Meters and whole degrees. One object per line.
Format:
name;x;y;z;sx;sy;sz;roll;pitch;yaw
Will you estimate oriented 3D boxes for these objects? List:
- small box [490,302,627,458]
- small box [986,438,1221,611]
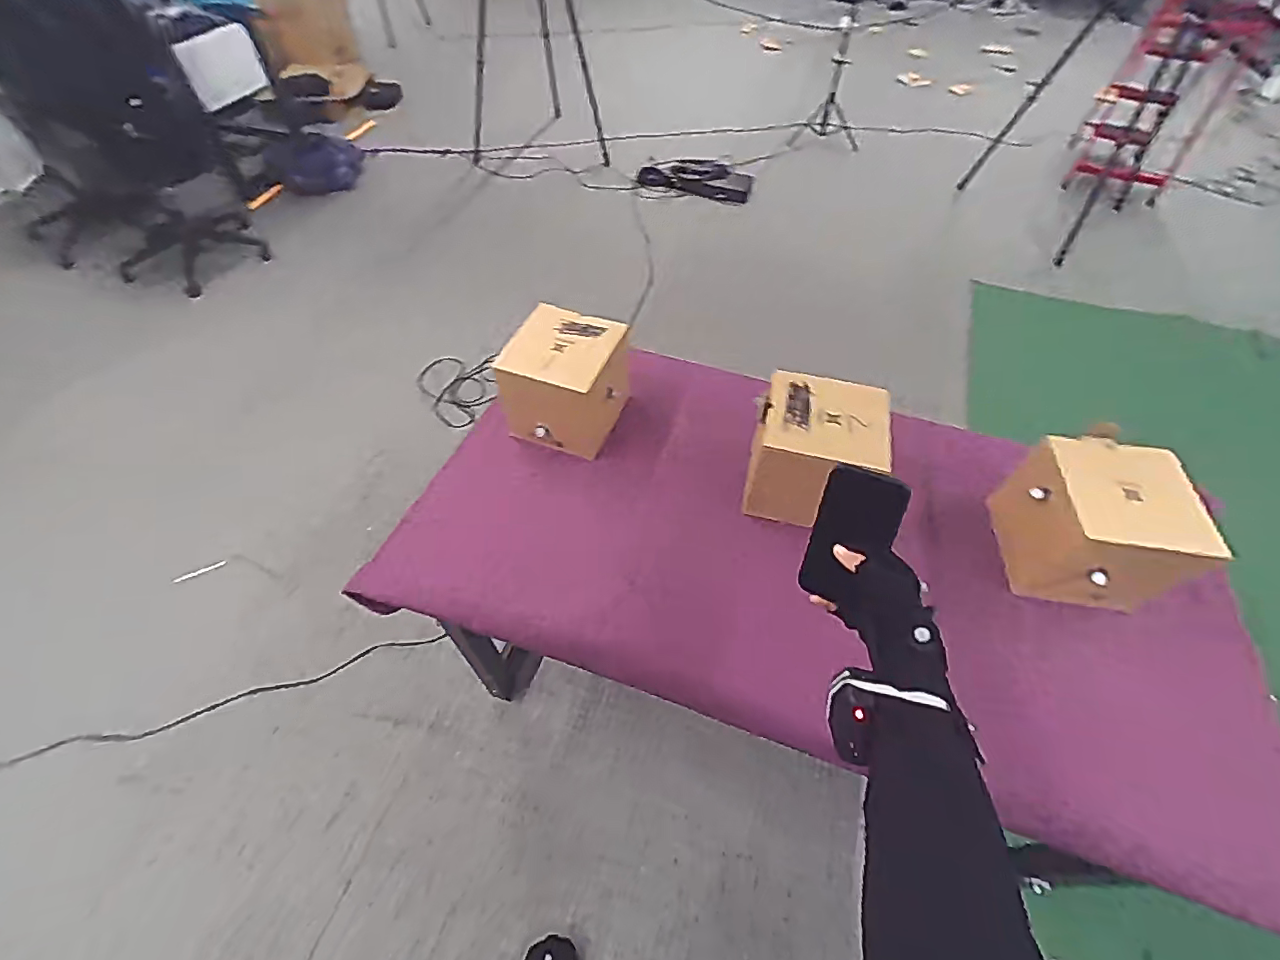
small box;-0.130;-0.170;0.930;0.168;0.176;0.179;18;56;12
small box;0.633;0.067;0.769;0.168;0.176;0.179;8;52;5
